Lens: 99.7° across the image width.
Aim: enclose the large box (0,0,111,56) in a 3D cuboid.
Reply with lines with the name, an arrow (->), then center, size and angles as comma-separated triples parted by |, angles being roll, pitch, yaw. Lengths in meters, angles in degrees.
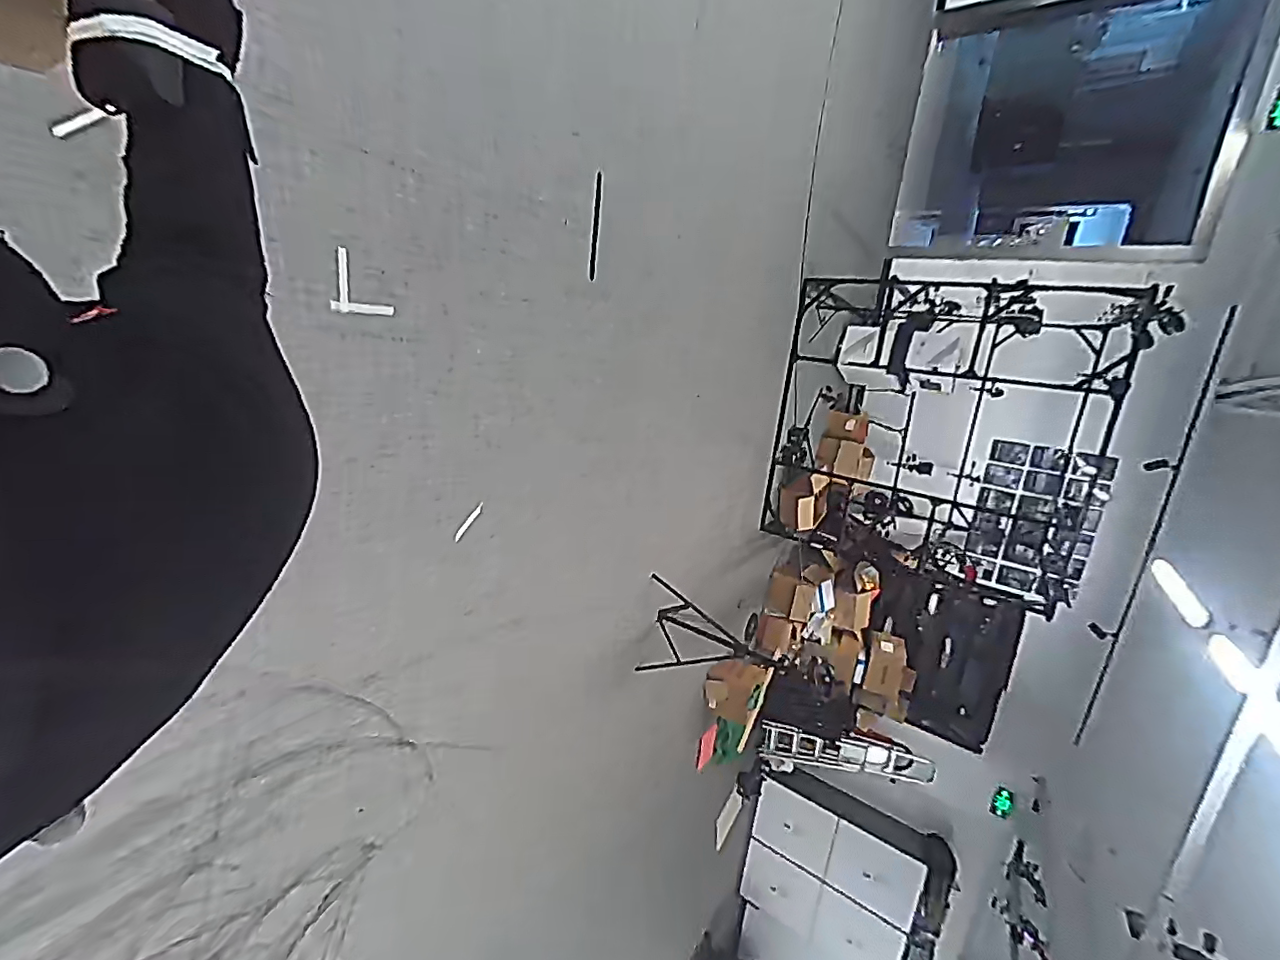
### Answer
large box -> -0.559, -0.491, 0.251 | 0.408, 0.320, 0.320 | -10, 115, -55
